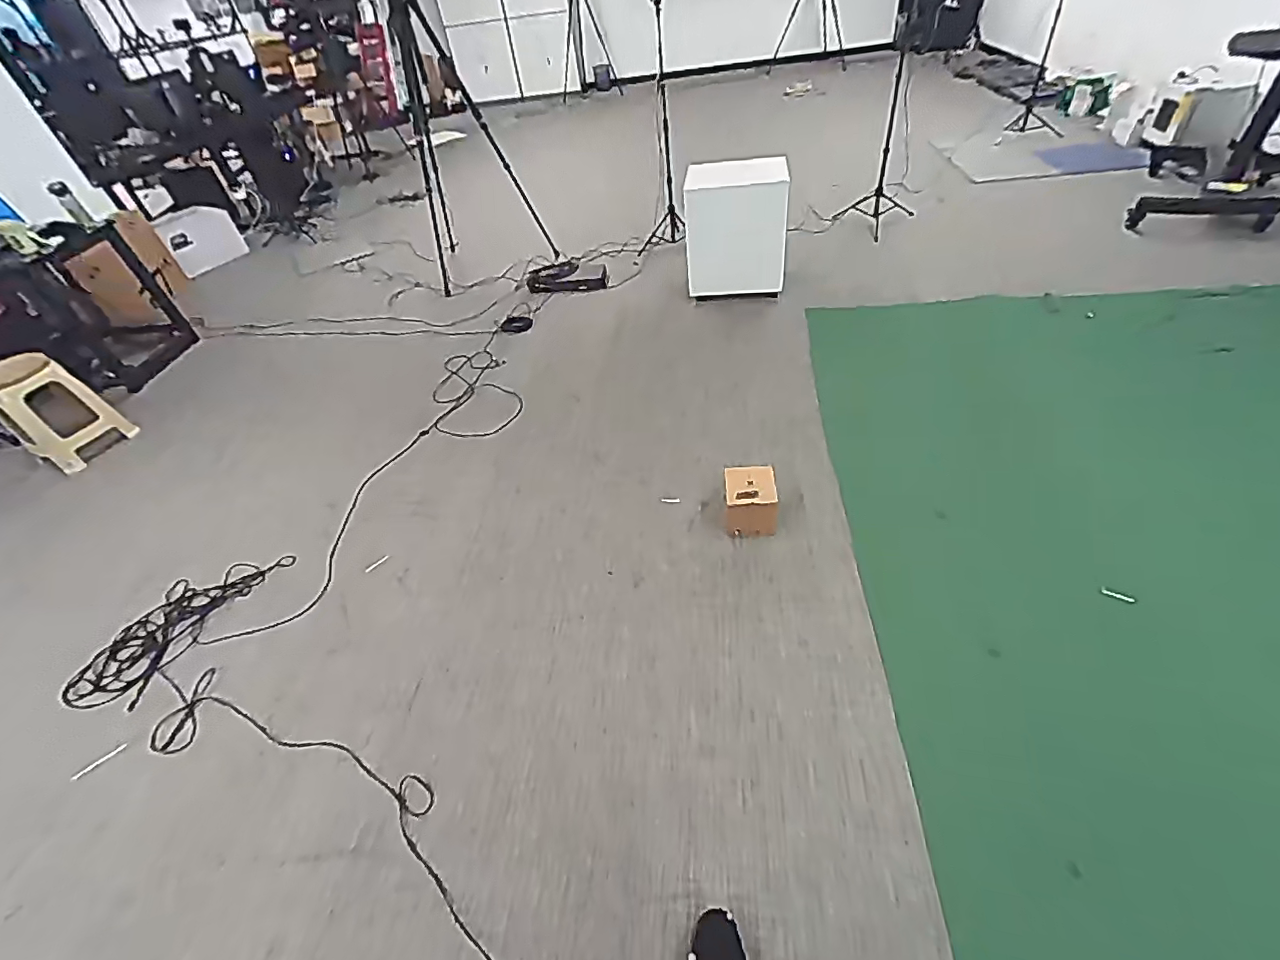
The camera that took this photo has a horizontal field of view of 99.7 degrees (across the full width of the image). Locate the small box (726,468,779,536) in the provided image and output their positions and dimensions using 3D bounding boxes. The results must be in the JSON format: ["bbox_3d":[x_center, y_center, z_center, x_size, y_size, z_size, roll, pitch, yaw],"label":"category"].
[{"bbox_3d":[0.382,0.079,1.855,0.168,0.176,0.179,-2,44,7],"label":"small box"}]
